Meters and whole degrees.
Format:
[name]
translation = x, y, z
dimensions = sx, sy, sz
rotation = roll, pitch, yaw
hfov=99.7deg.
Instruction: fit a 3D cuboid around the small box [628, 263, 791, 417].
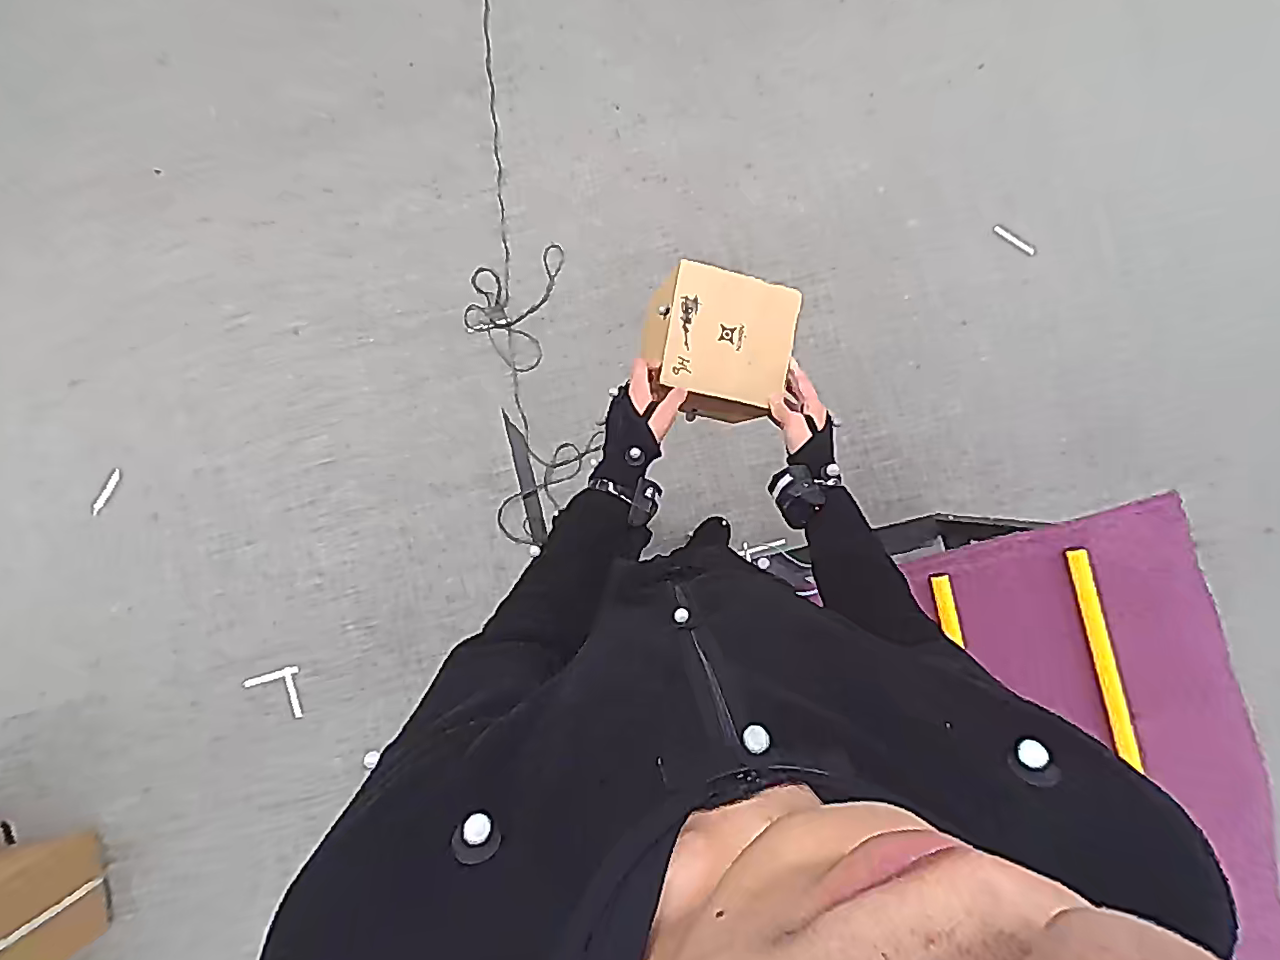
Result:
[small box]
translation = 0.093, -0.191, 0.798
dimensions = 0.179, 0.176, 0.168
rotation = 10, 89, -13
